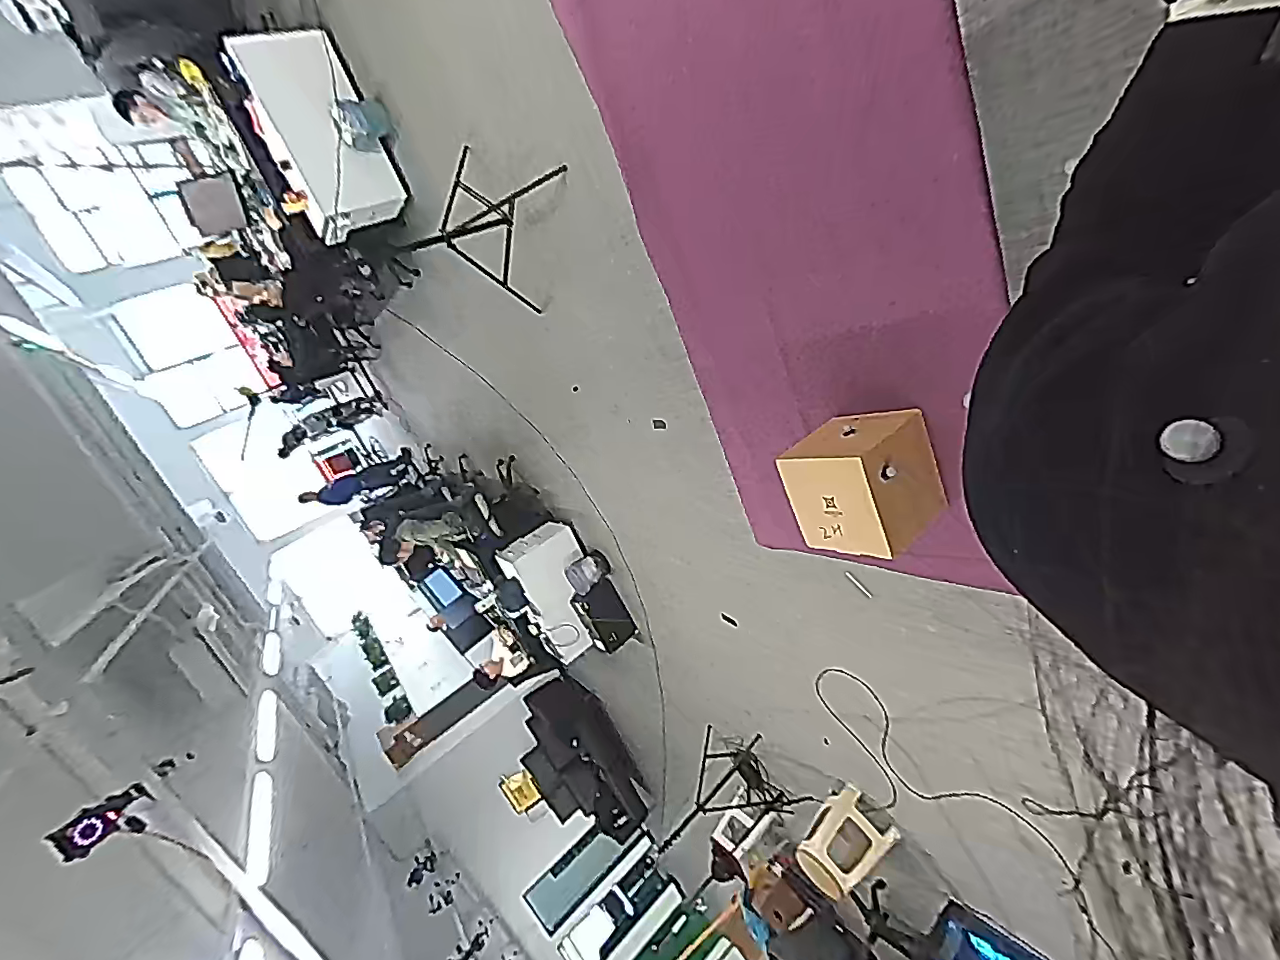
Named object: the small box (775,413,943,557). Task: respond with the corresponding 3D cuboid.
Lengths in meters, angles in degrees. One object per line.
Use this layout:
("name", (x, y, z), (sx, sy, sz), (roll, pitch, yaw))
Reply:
("small box", (0.359, 0.000, 0.882), (0.168, 0.176, 0.179), (3, 121, 59))
